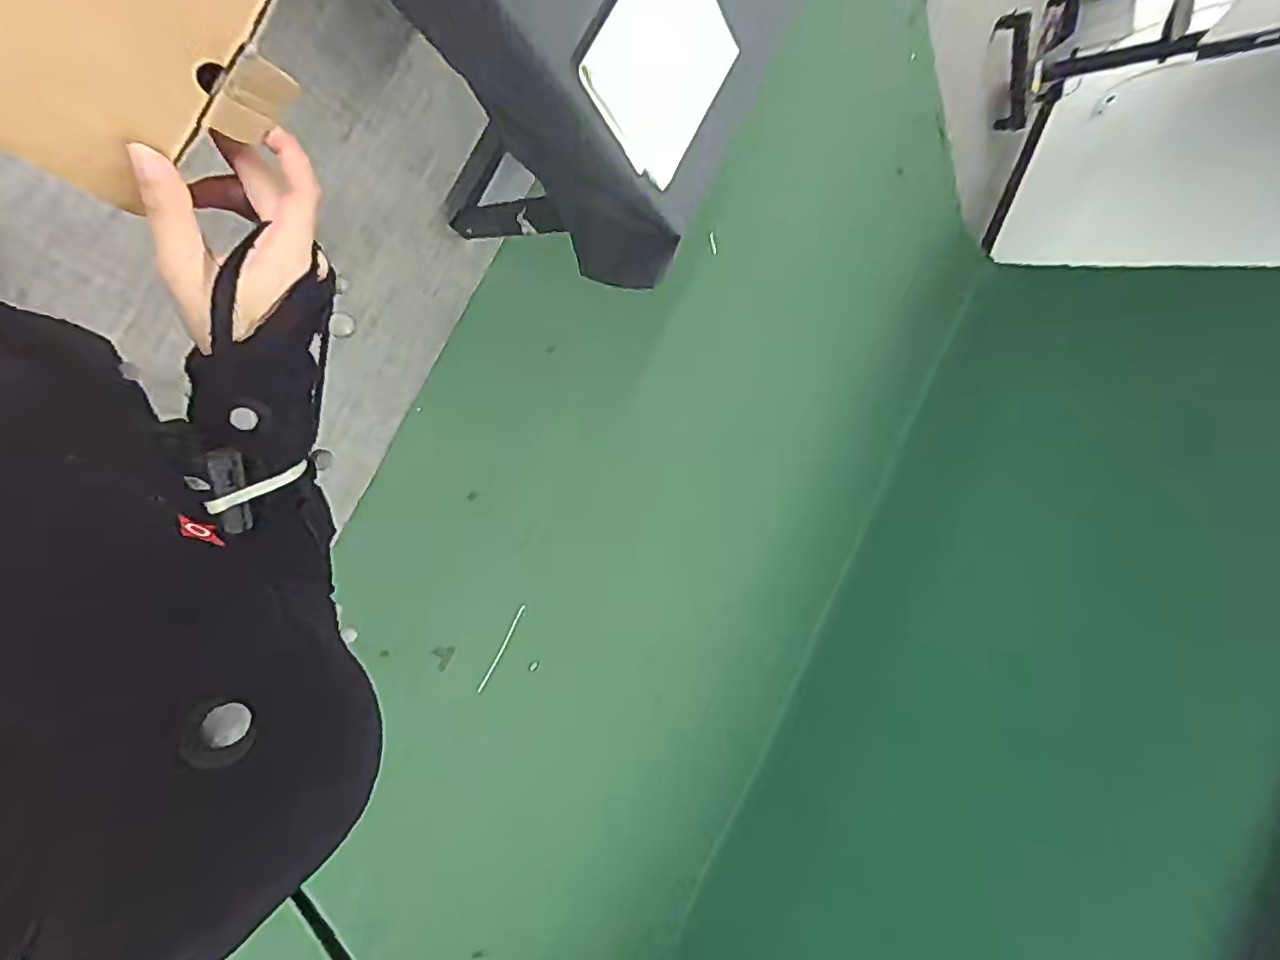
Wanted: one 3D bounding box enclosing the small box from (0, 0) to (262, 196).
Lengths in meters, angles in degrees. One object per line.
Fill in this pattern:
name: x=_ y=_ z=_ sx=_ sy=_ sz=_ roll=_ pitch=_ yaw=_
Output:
small box: x=-0.259 y=-0.267 z=0.212 sx=0.168 sy=0.176 sz=0.179 roll=-38 pitch=146 yaw=20
